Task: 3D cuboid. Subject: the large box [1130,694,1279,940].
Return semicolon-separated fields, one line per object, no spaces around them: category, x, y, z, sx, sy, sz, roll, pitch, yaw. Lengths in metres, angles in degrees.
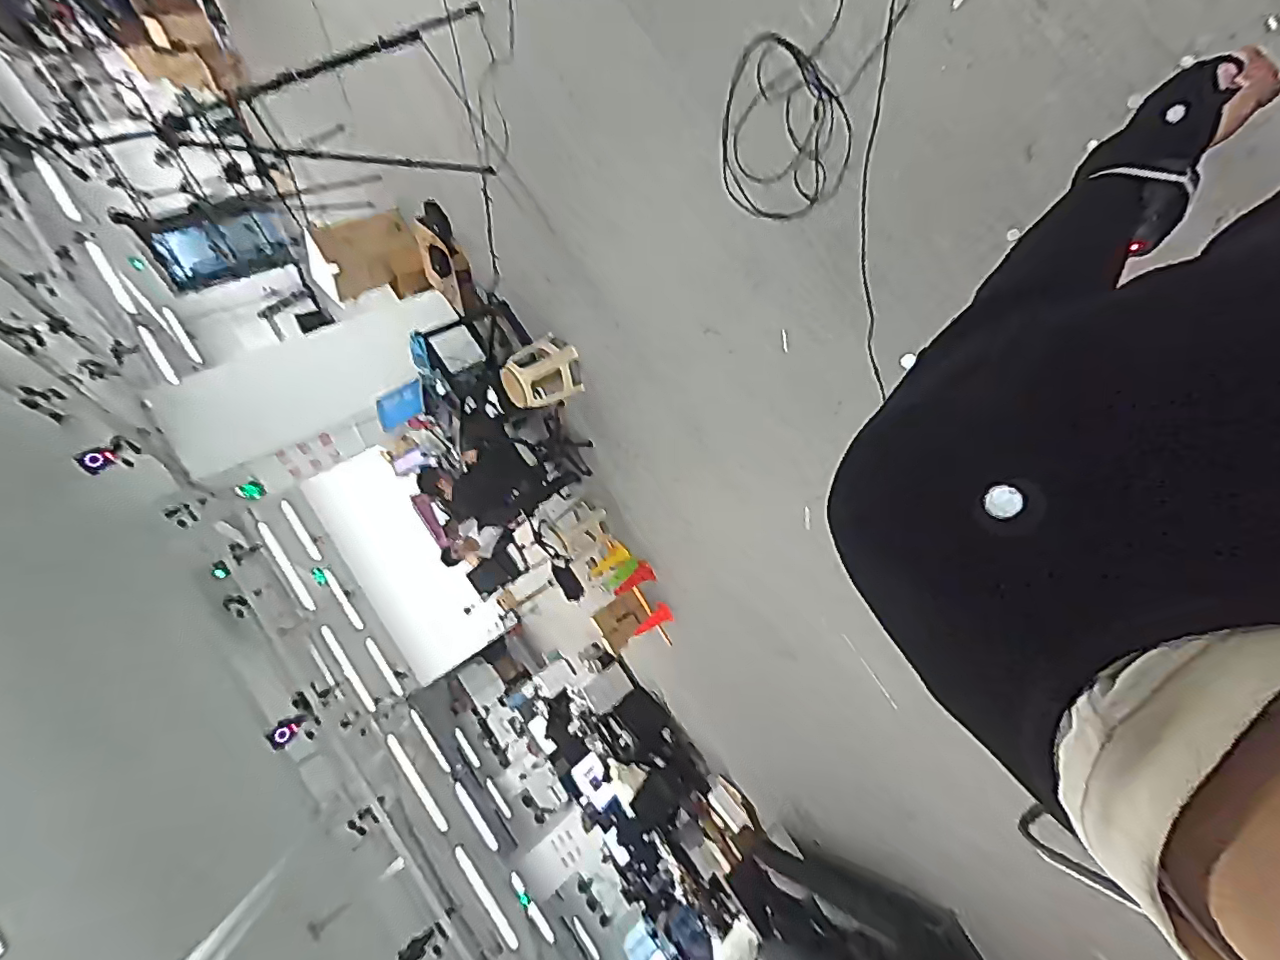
large box;1.474;0.806;1.299;0.320;0.320;0.408;-2;118;62
